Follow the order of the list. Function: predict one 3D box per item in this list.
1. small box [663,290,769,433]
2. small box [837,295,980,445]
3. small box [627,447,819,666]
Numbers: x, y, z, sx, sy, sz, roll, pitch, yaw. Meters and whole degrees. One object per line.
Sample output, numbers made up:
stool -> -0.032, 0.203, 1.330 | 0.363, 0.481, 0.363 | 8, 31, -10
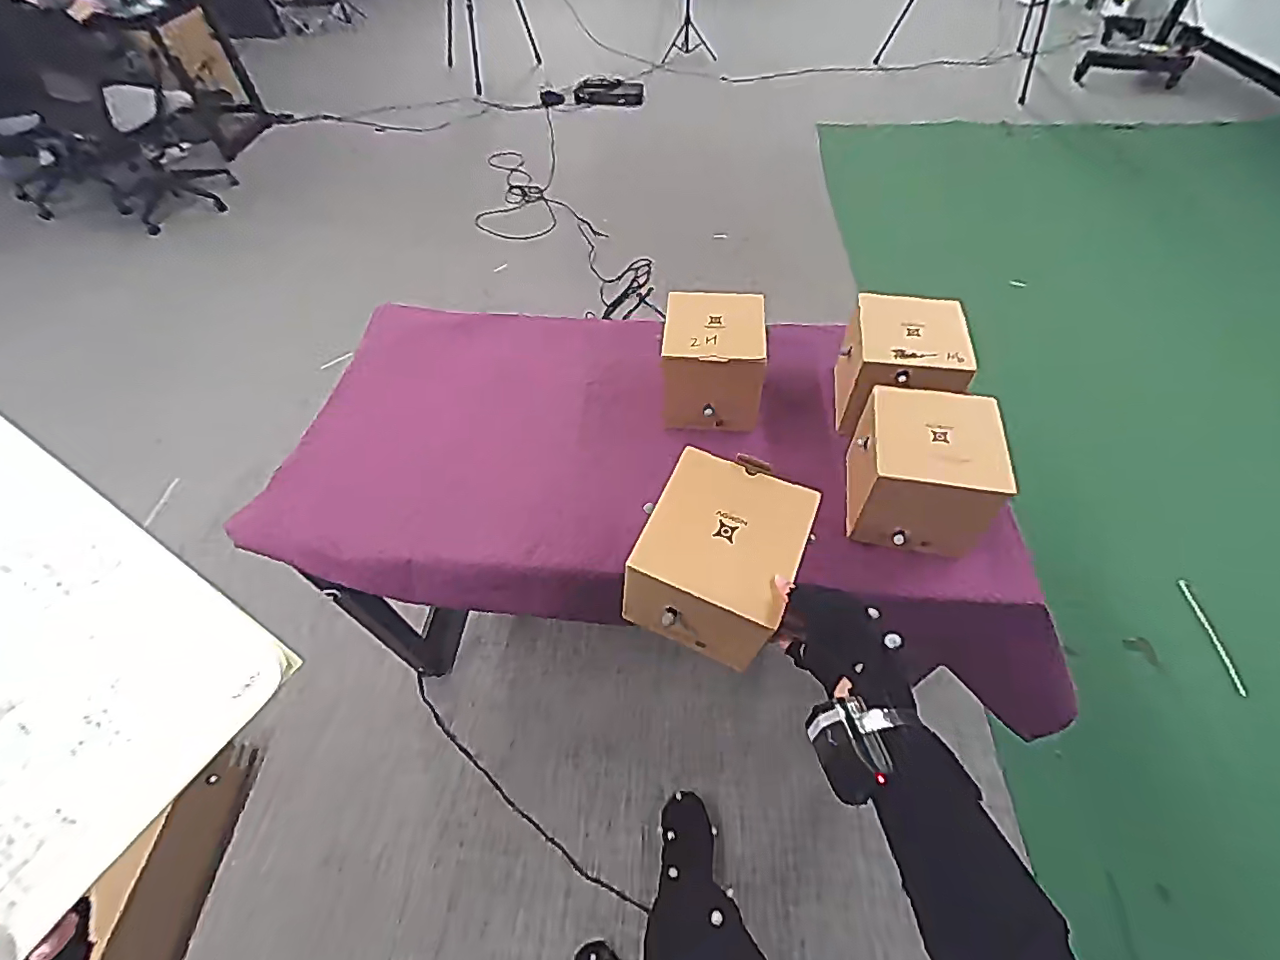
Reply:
small box -> 0.129, -0.207, 0.947 | 0.168, 0.176, 0.179 | 4, 54, 5
small box -> 0.440, -0.186, 0.919 | 0.168, 0.176, 0.179 | 8, 53, 9
small box -> 0.092, 0.097, 0.651 | 0.168, 0.176, 0.179 | 22, 57, 10
